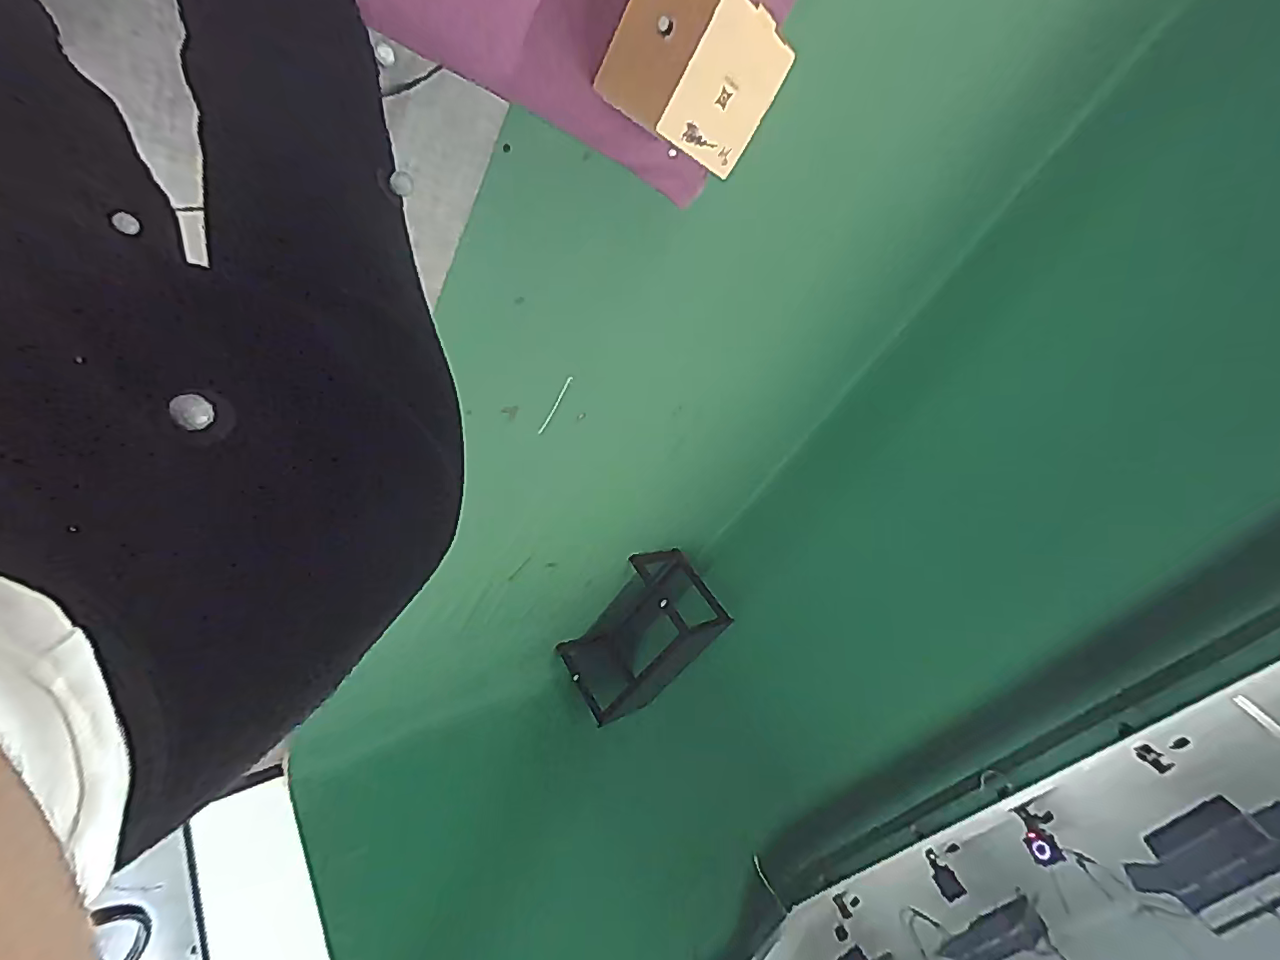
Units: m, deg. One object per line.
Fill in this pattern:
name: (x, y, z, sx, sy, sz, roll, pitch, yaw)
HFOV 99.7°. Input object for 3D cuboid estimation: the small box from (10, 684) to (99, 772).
small box: (-1.816, 0.765, 1.683, 0.168, 0.176, 0.179, 11, 125, -51)

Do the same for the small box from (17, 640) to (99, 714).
small box: (-1.896, 0.648, 1.764, 0.168, 0.176, 0.179, 7, 128, -48)

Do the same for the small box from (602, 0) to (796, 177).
small box: (0.074, -0.573, 0.756, 0.168, 0.176, 0.179, 1, 131, -47)
